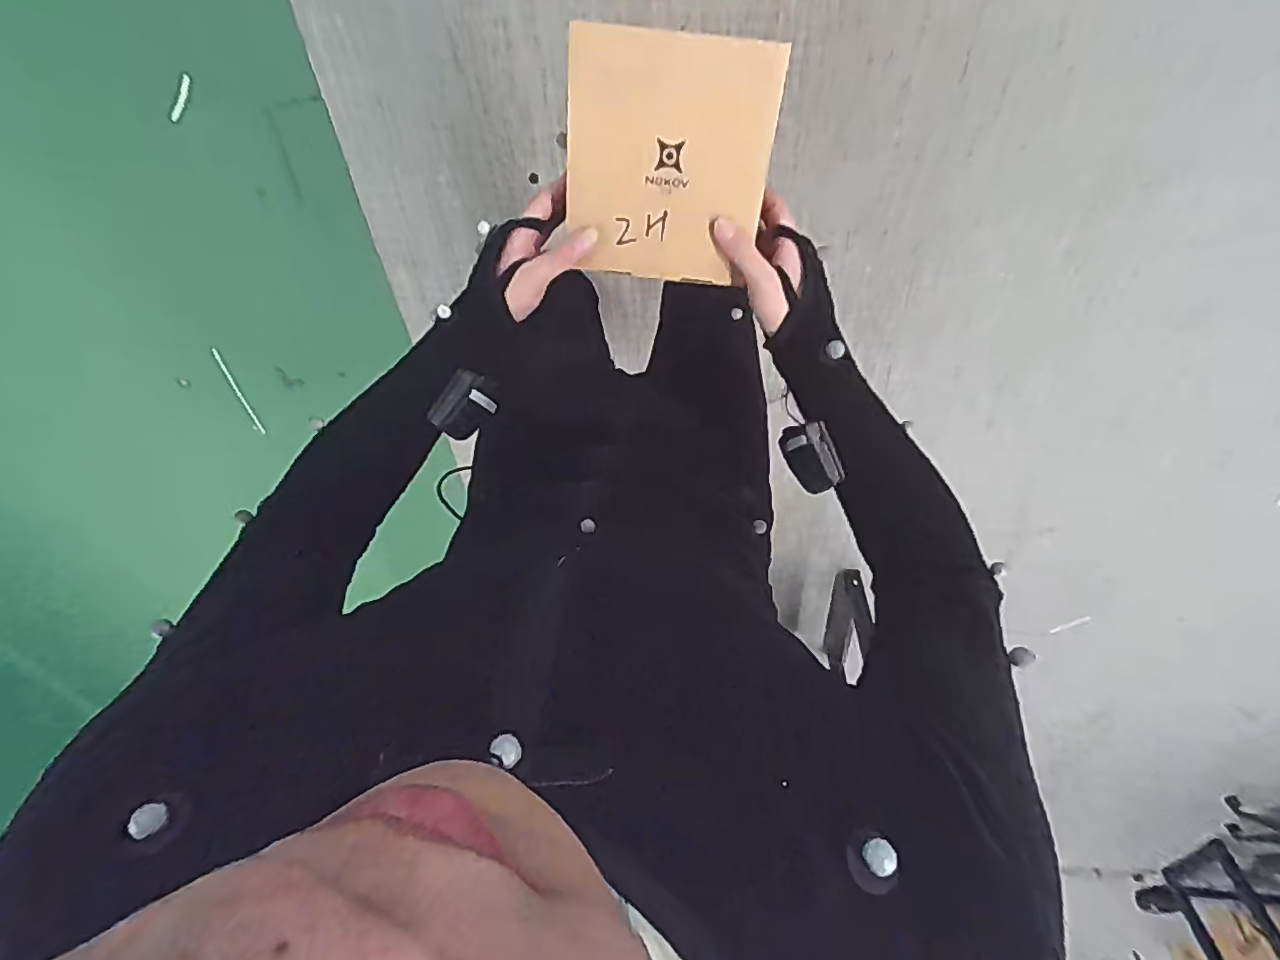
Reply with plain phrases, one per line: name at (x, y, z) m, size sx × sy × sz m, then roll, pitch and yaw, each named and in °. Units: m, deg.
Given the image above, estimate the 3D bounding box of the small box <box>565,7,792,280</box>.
small box at (0.026, -0.301, 0.502) m, size 0.168 × 0.176 × 0.179 m, roll 6°, pitch 123°, yaw 0°
